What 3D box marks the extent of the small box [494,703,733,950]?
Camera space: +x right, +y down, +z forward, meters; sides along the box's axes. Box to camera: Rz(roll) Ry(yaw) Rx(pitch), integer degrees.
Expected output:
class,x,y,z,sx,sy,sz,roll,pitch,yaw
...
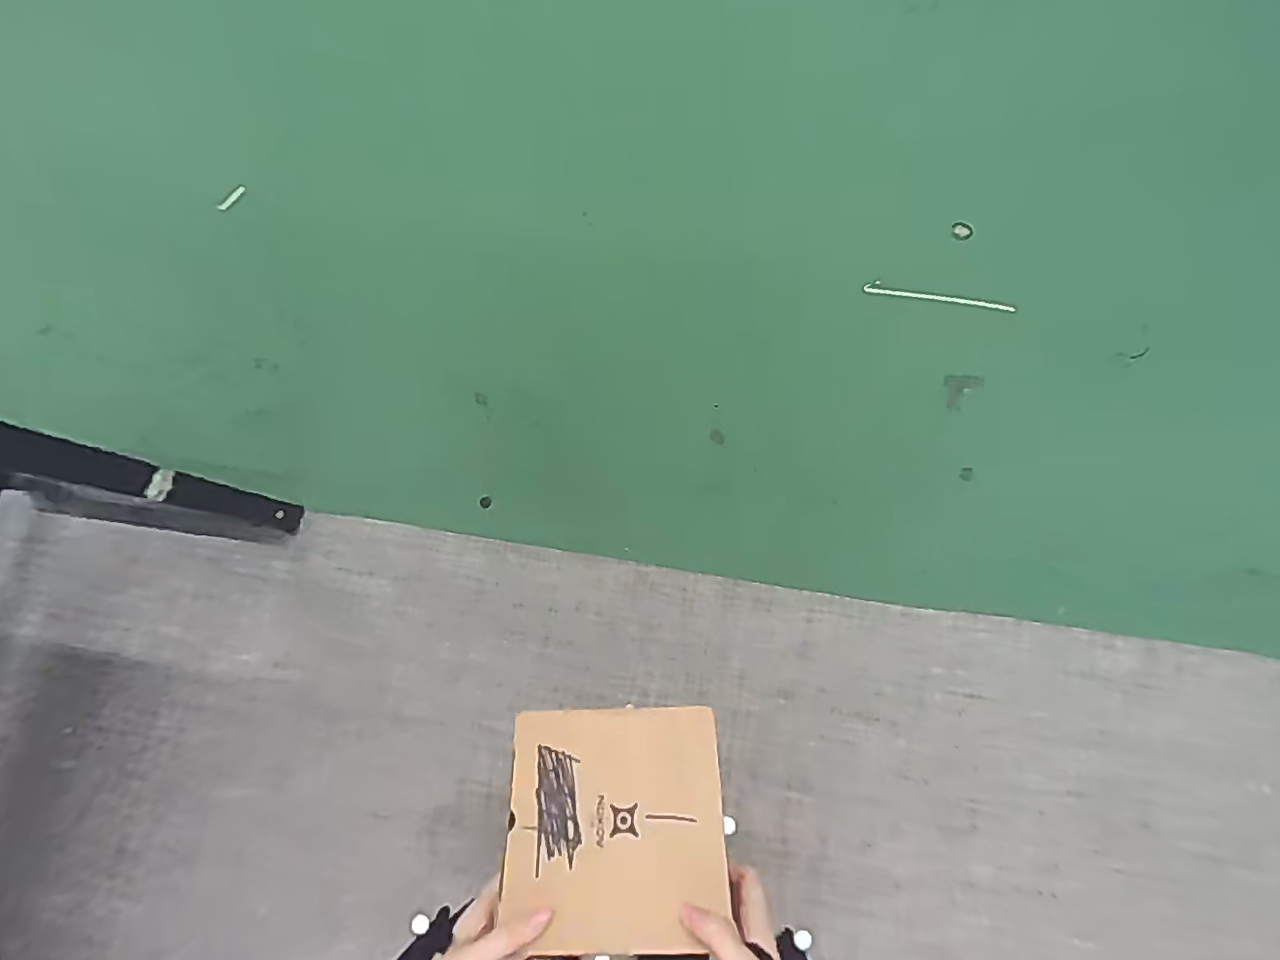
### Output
class,x,y,z,sx,sy,sz,roll,pitch,yaw
small box,-0.014,0.309,0.494,0.179,0.176,0.168,-3,57,3
